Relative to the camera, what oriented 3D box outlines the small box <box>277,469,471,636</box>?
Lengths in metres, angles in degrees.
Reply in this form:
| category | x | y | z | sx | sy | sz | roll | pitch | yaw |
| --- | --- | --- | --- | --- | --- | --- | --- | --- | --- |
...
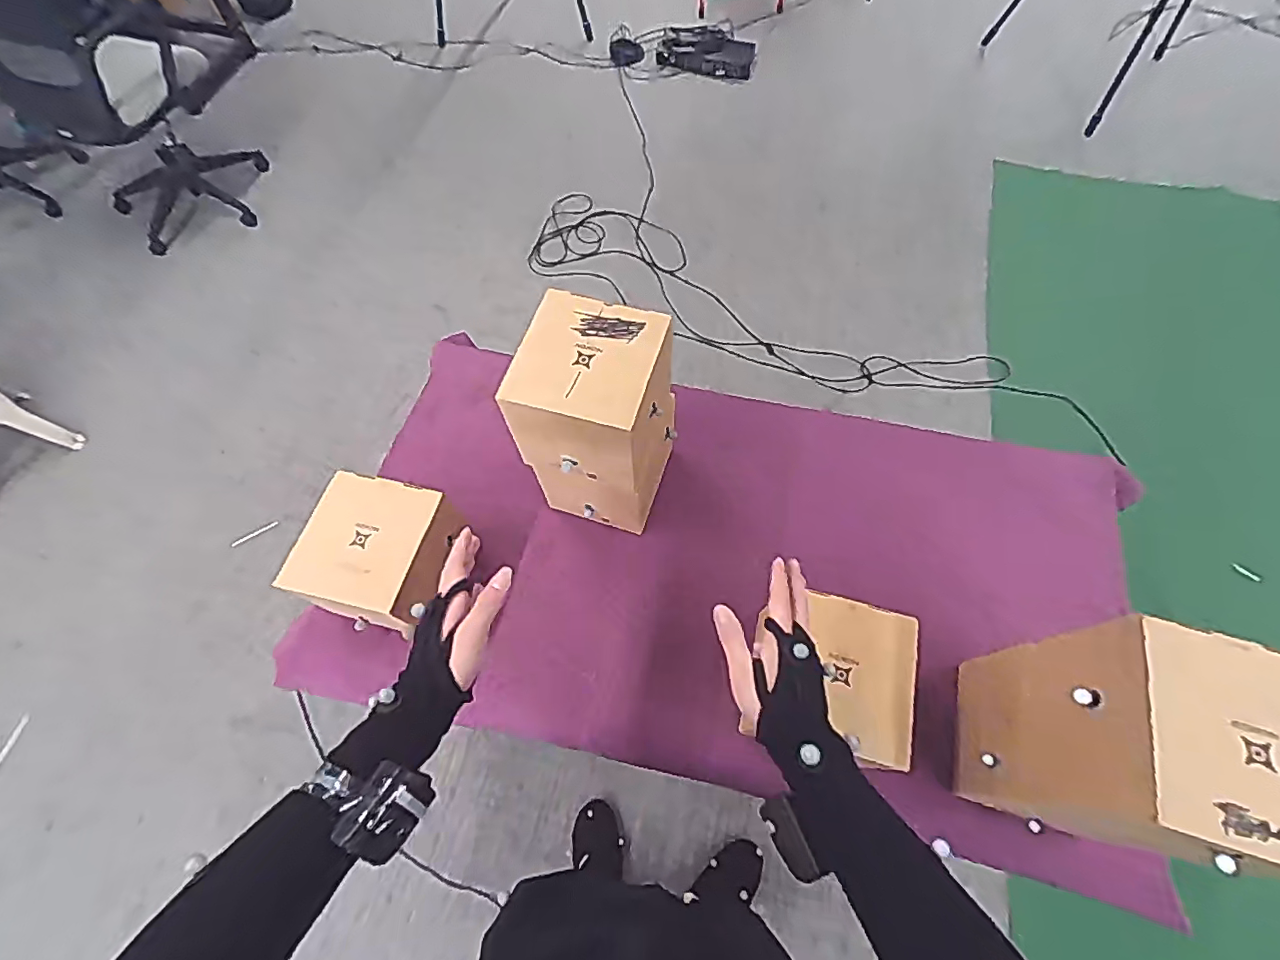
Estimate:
| category | x | y | z | sx | sy | sz | roll | pitch | yaw |
| --- | --- | --- | --- | --- | --- | --- | --- | --- | --- |
| small box | -0.367 | 0.111 | 0.791 | 0.168 | 0.176 | 0.179 | 12 | 64 | 8 |

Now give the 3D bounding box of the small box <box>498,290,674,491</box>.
| category | x | y | z | sx | sy | sz | roll | pitch | yaw |
| --- | --- | --- | --- | --- | --- | --- | --- | --- | --- |
| small box | -0.061 | -0.111 | 0.711 | 0.168 | 0.176 | 0.179 | 15 | 66 | 9 |

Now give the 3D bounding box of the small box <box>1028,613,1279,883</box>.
| category | x | y | z | sx | sy | sz | roll | pitch | yaw |
| --- | --- | --- | --- | --- | --- | --- | --- | --- | --- |
| small box | 0.504 | 0.252 | 0.514 | 0.168 | 0.176 | 0.179 | 15 | 64 | 10 |

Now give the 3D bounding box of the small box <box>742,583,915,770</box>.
| category | x | y | z | sx | sy | sz | roll | pitch | yaw |
| --- | --- | --- | --- | --- | --- | --- | --- | --- | --- |
| small box | 0.235 | 0.260 | 0.705 | 0.168 | 0.176 | 0.179 | 14 | 63 | 8 |

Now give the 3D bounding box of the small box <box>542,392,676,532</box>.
| category | x | y | z | sx | sy | sz | roll | pitch | yaw |
| --- | --- | --- | --- | --- | --- | --- | --- | --- | --- |
| small box | -0.049 | -0.043 | 0.859 | 0.168 | 0.176 | 0.179 | 17 | 66 | 10 |
